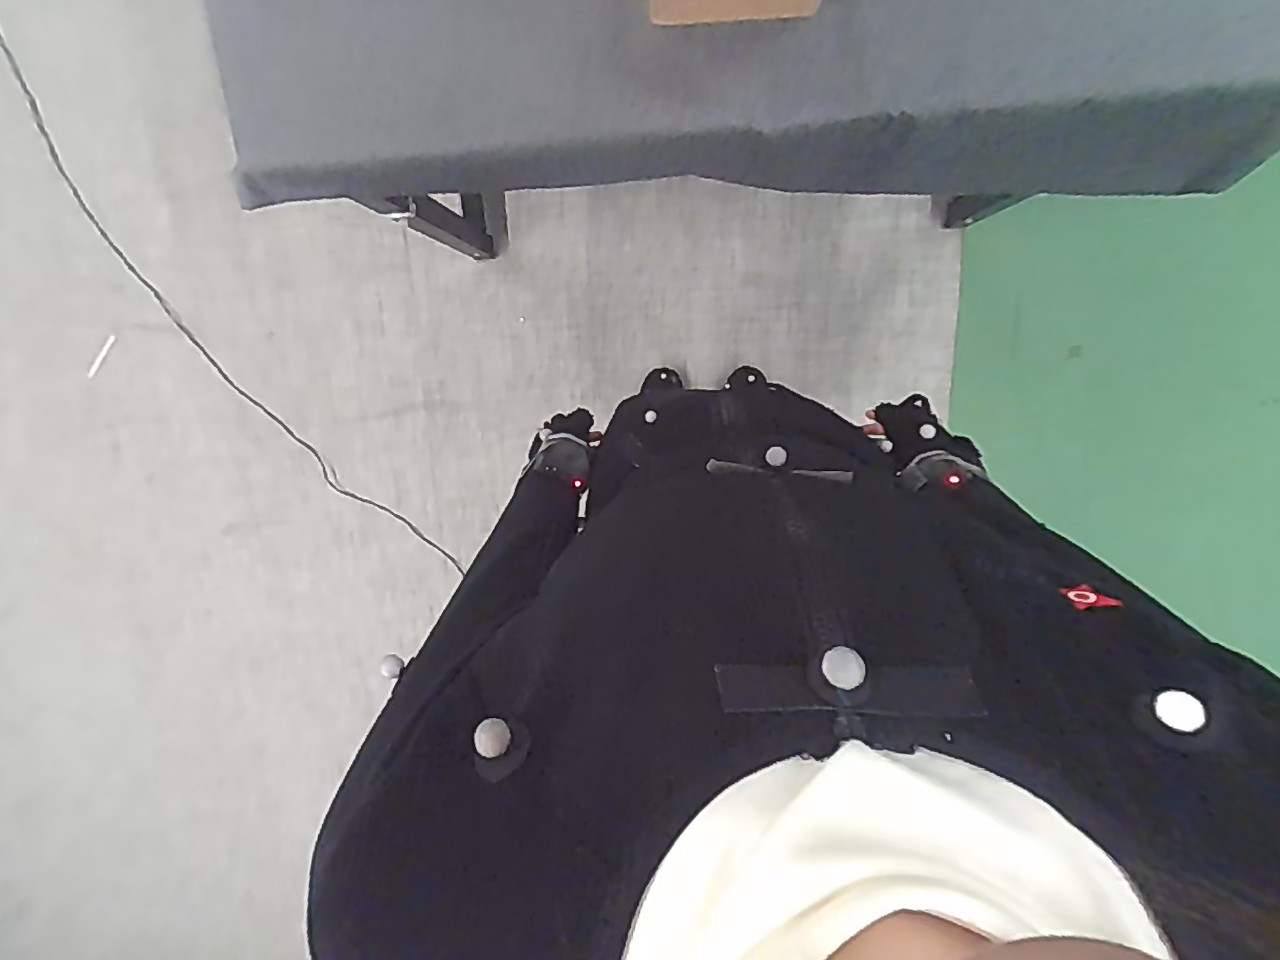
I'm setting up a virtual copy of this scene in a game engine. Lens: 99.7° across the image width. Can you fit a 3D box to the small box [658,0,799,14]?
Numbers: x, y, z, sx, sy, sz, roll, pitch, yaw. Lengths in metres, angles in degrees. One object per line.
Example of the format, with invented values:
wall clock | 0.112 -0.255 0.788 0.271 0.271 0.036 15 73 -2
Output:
small box | 0.094 -0.567 0.487 0.179 0.176 0.168 -3 101 4
